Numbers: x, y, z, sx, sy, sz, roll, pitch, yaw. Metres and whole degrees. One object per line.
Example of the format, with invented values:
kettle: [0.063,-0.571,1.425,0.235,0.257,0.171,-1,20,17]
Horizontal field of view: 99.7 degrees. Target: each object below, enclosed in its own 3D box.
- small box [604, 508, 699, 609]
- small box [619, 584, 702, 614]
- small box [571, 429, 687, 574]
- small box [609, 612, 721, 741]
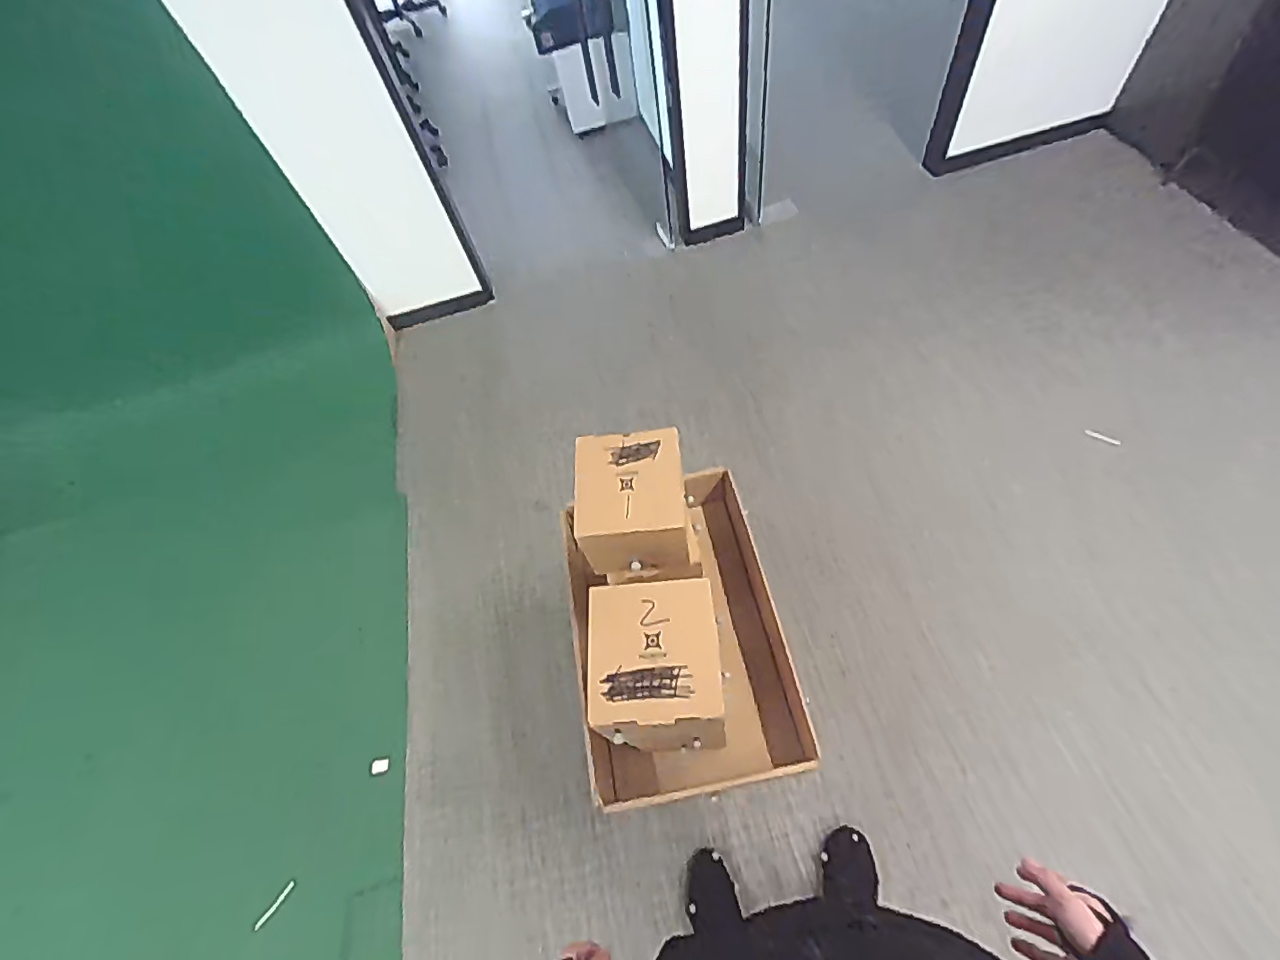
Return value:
small box: [0.012,0.124,1.030,0.168,0.176,0.179,-13,60,0]
small box: [0.034,0.202,1.170,0.168,0.176,0.179,-14,59,1]
small box: [-0.013,0.040,0.891,0.168,0.176,0.179,-6,61,5]
small box: [0.046,0.330,0.895,0.168,0.176,0.179,-4,57,6]
